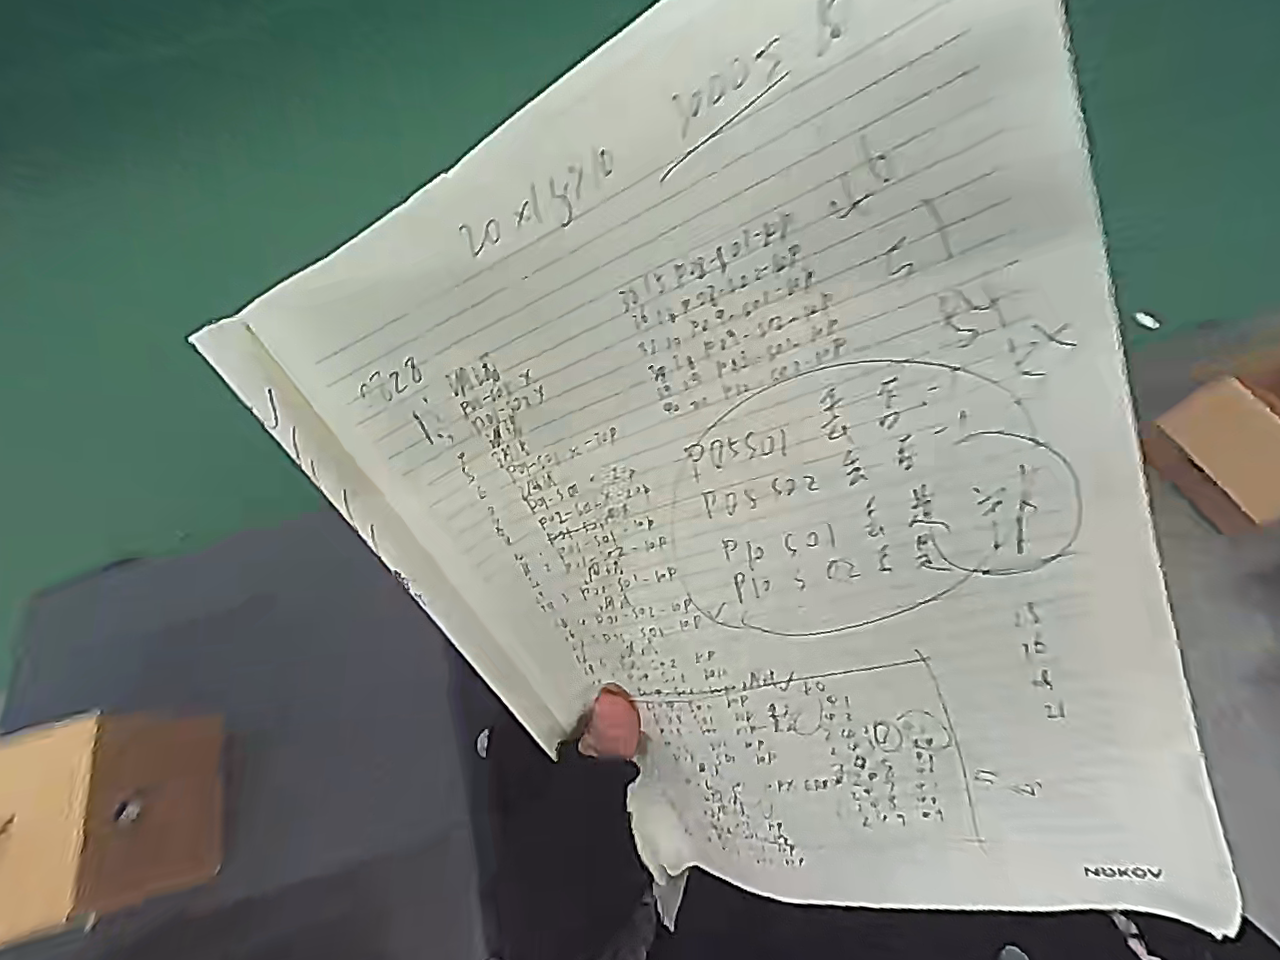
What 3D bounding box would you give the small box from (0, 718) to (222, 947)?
[{"bbox_3d":[-0.594,0.371,0.583,0.168,0.176,0.179,-17,66,-2],"label":"small box"}]
